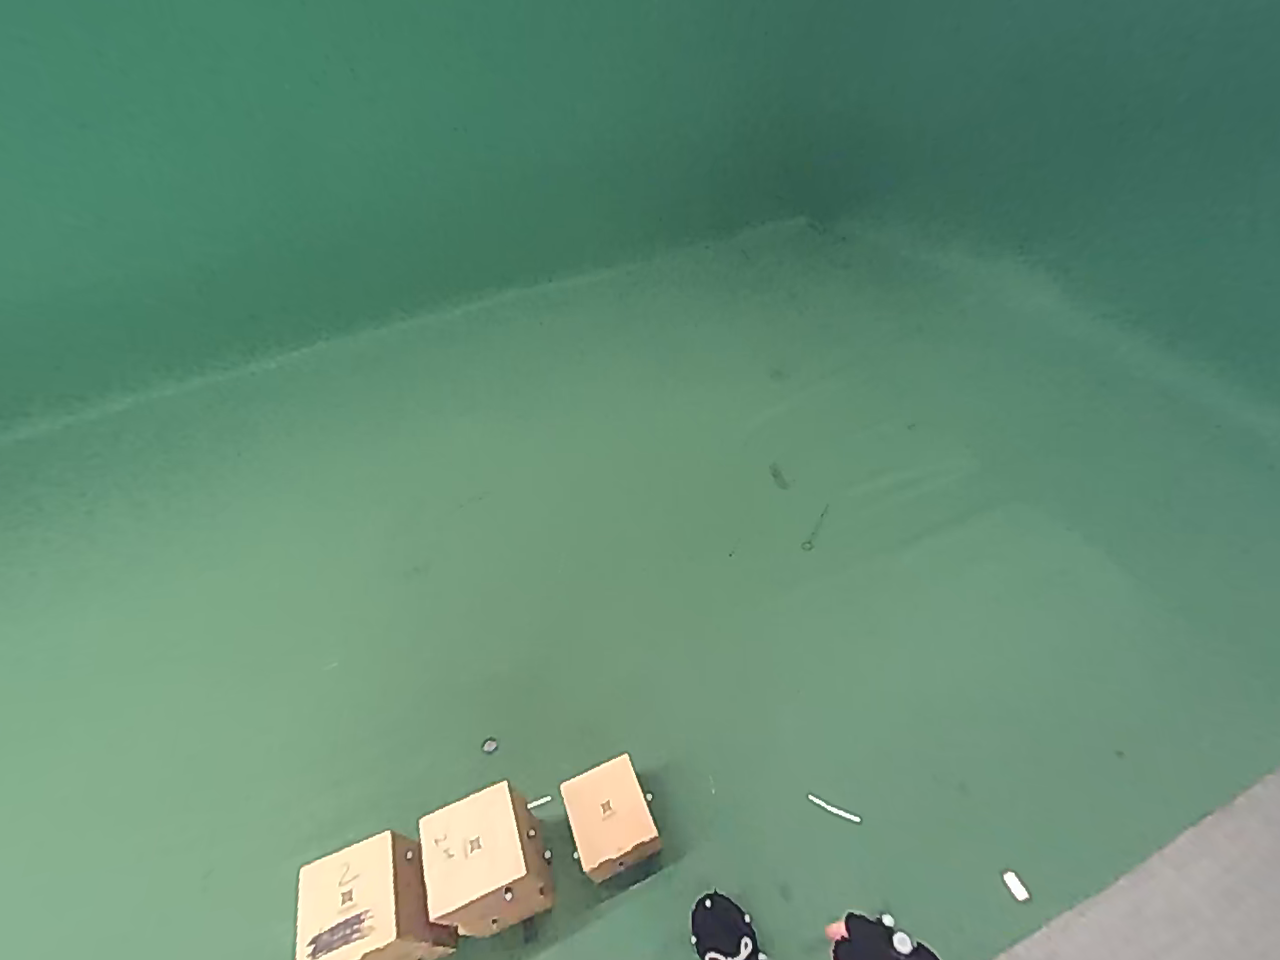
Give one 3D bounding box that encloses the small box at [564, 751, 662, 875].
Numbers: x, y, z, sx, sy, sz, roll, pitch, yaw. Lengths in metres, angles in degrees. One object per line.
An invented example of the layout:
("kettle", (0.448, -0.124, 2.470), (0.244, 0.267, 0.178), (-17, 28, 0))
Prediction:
("small box", (-0.059, 0.757, 1.227), (0.168, 0.176, 0.179), (-21, 50, -12))
